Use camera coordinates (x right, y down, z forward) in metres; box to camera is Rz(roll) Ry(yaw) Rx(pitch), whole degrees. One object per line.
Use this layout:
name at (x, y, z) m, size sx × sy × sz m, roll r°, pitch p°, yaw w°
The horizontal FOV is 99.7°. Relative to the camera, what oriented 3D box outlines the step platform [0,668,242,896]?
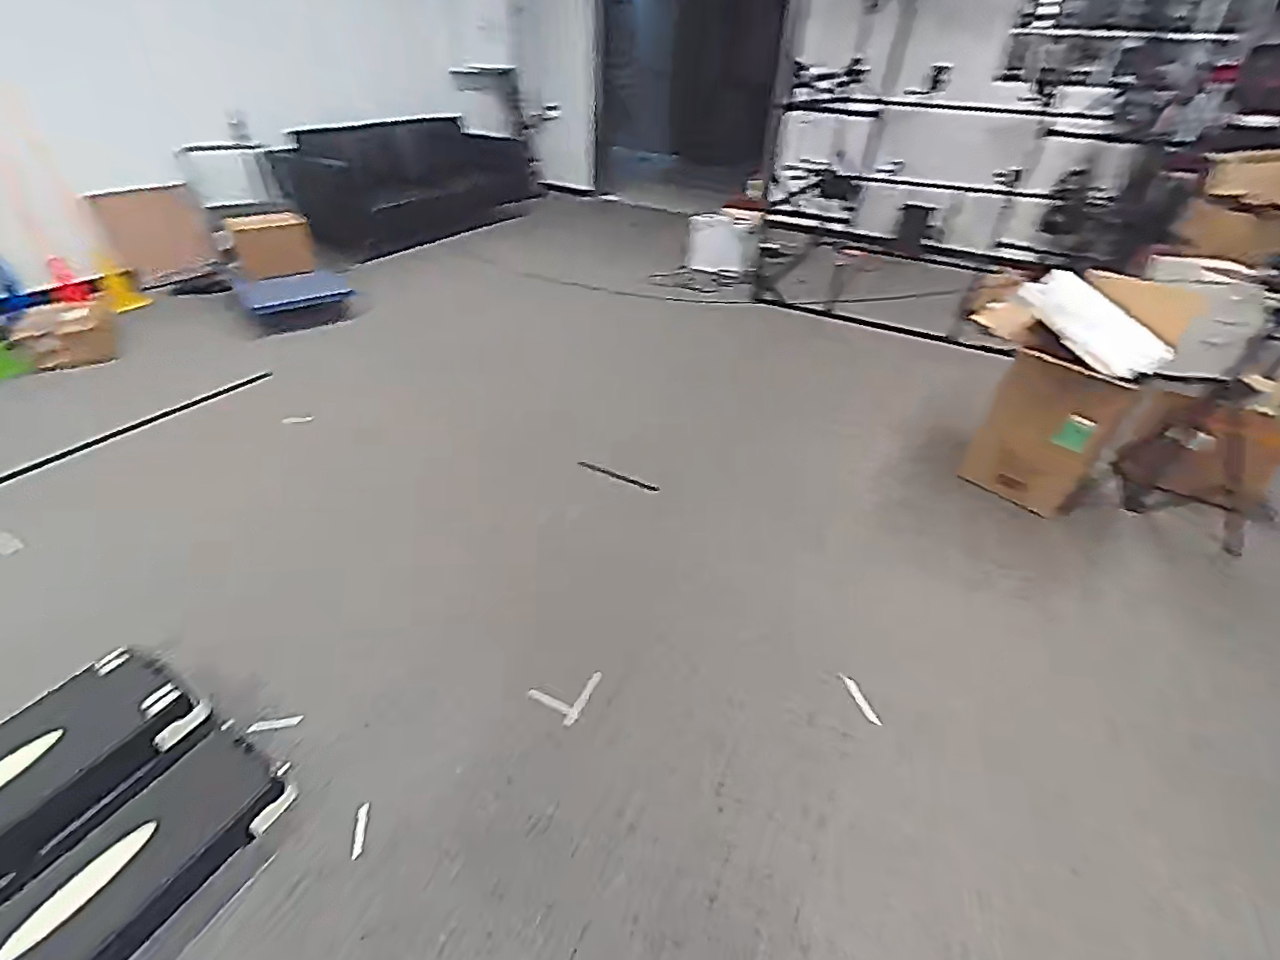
step platform at (-1.290, 0.735, 1.151) m, size 0.286 × 0.204 × 0.684 m, roll 23°, pitch 40°, yaw 25°
